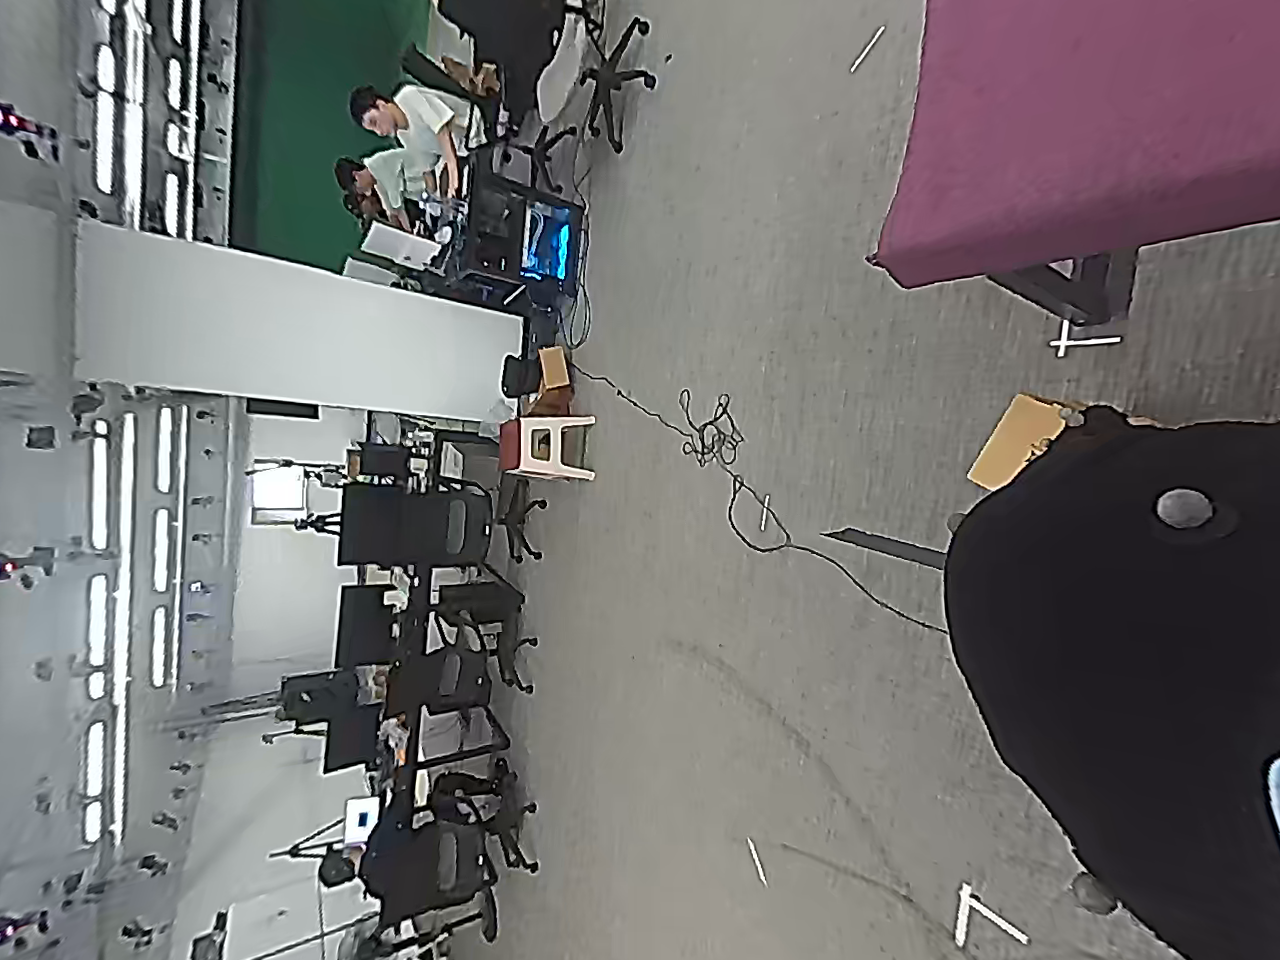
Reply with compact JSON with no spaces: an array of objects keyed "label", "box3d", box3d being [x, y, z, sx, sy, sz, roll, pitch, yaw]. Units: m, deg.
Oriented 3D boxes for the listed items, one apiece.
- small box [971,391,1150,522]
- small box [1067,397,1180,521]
[{"label":"small box","box3d":[0.745,-0.040,0.961,0.168,0.176,0.179,46,124,47]},{"label":"small box","box3d":[0.884,-0.039,1.048,0.168,0.176,0.179,54,131,43]}]
